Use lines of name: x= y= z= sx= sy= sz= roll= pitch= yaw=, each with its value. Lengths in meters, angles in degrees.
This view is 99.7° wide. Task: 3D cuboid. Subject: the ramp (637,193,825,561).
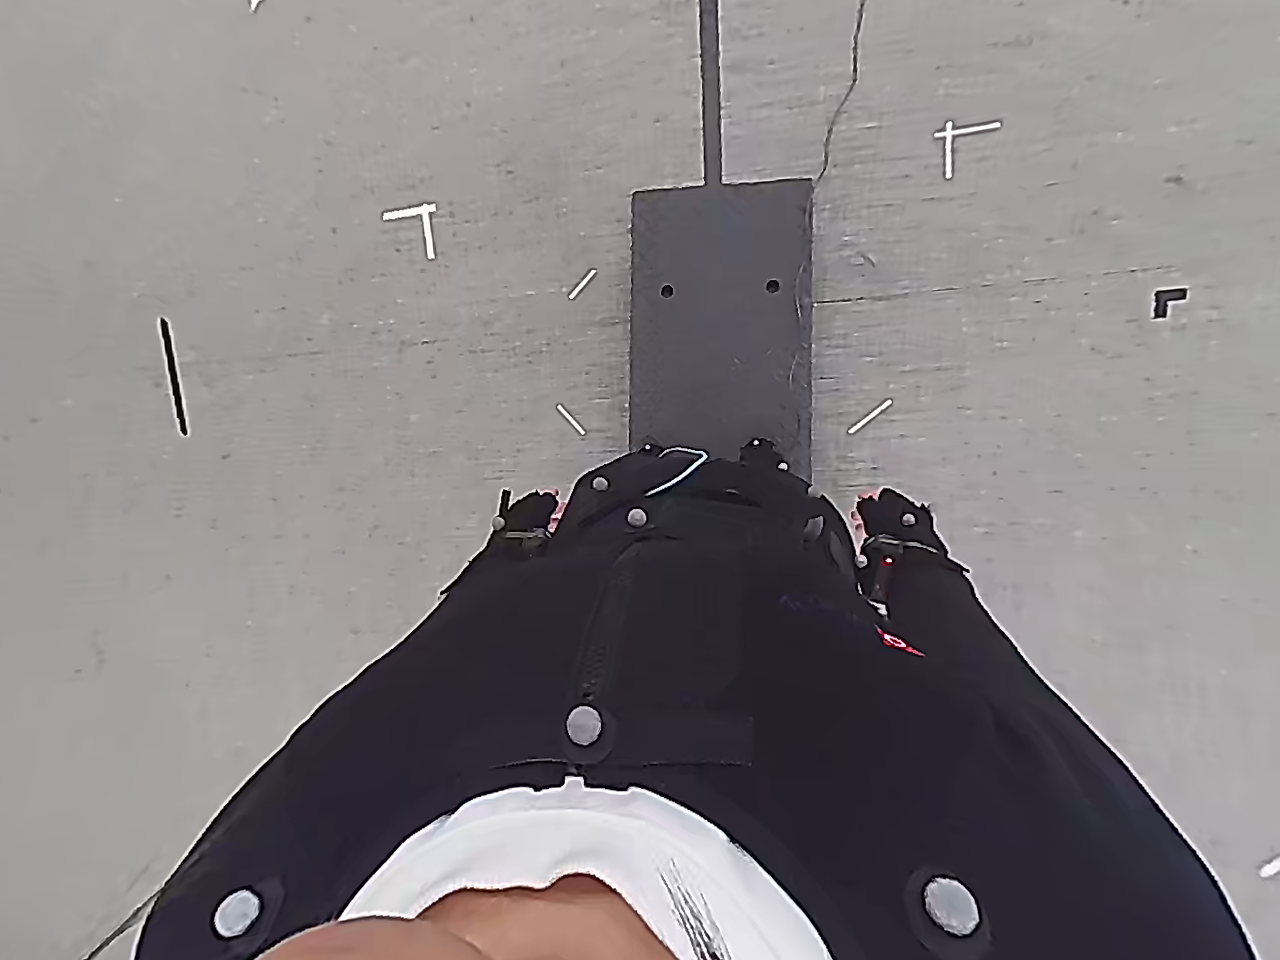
ramp: x=0.234 y=-0.282 z=1.479 sx=0.509 sy=0.206 sz=0.991 roll=-3 pitch=95 yaw=11
